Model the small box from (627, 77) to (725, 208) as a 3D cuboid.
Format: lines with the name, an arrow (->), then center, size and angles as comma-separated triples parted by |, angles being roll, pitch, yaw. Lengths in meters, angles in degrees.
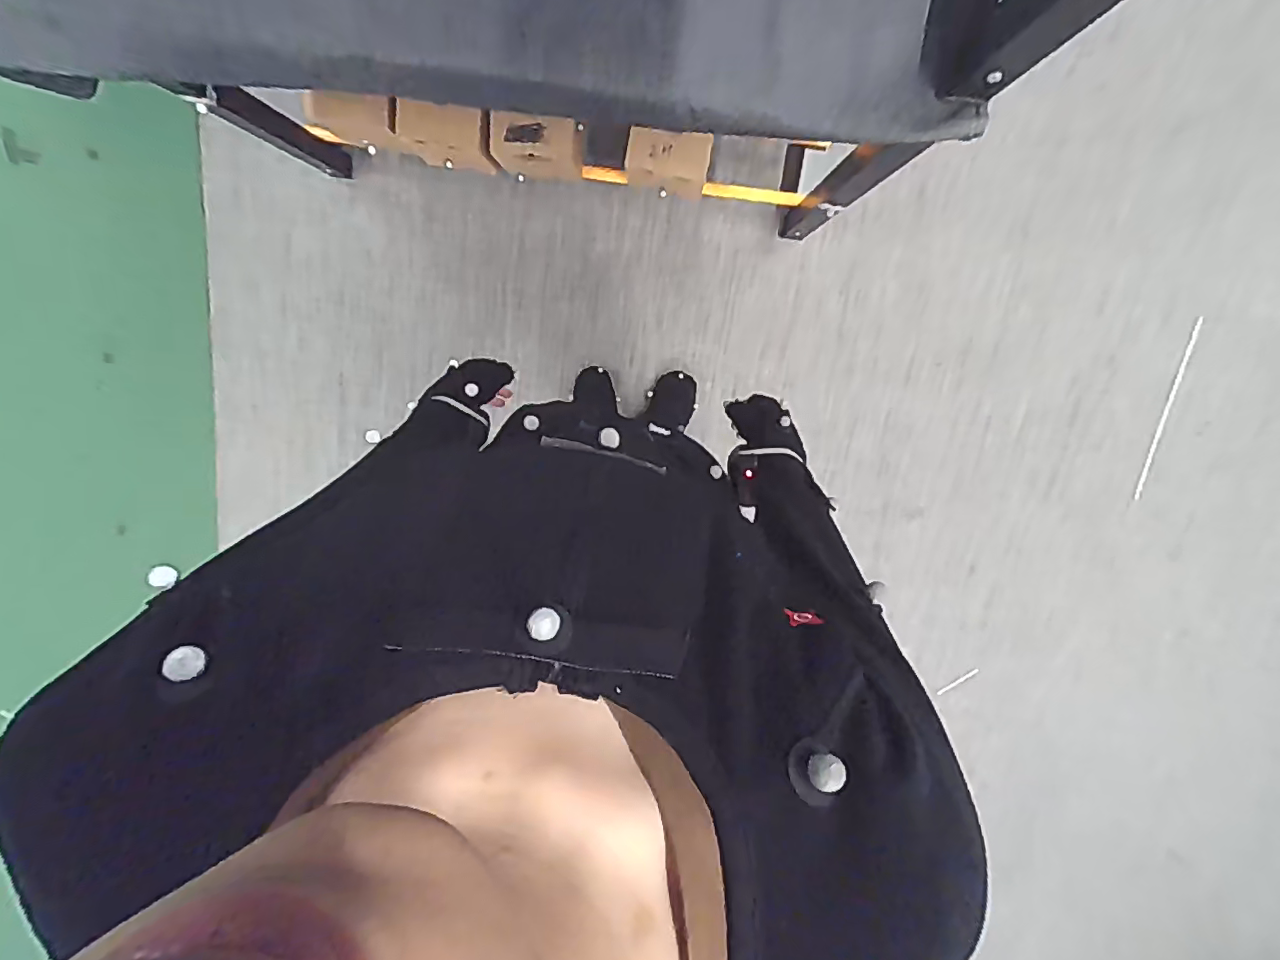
small box -> 0.072, -0.701, 1.143 | 0.168, 0.176, 0.179 | 12, 105, -1
